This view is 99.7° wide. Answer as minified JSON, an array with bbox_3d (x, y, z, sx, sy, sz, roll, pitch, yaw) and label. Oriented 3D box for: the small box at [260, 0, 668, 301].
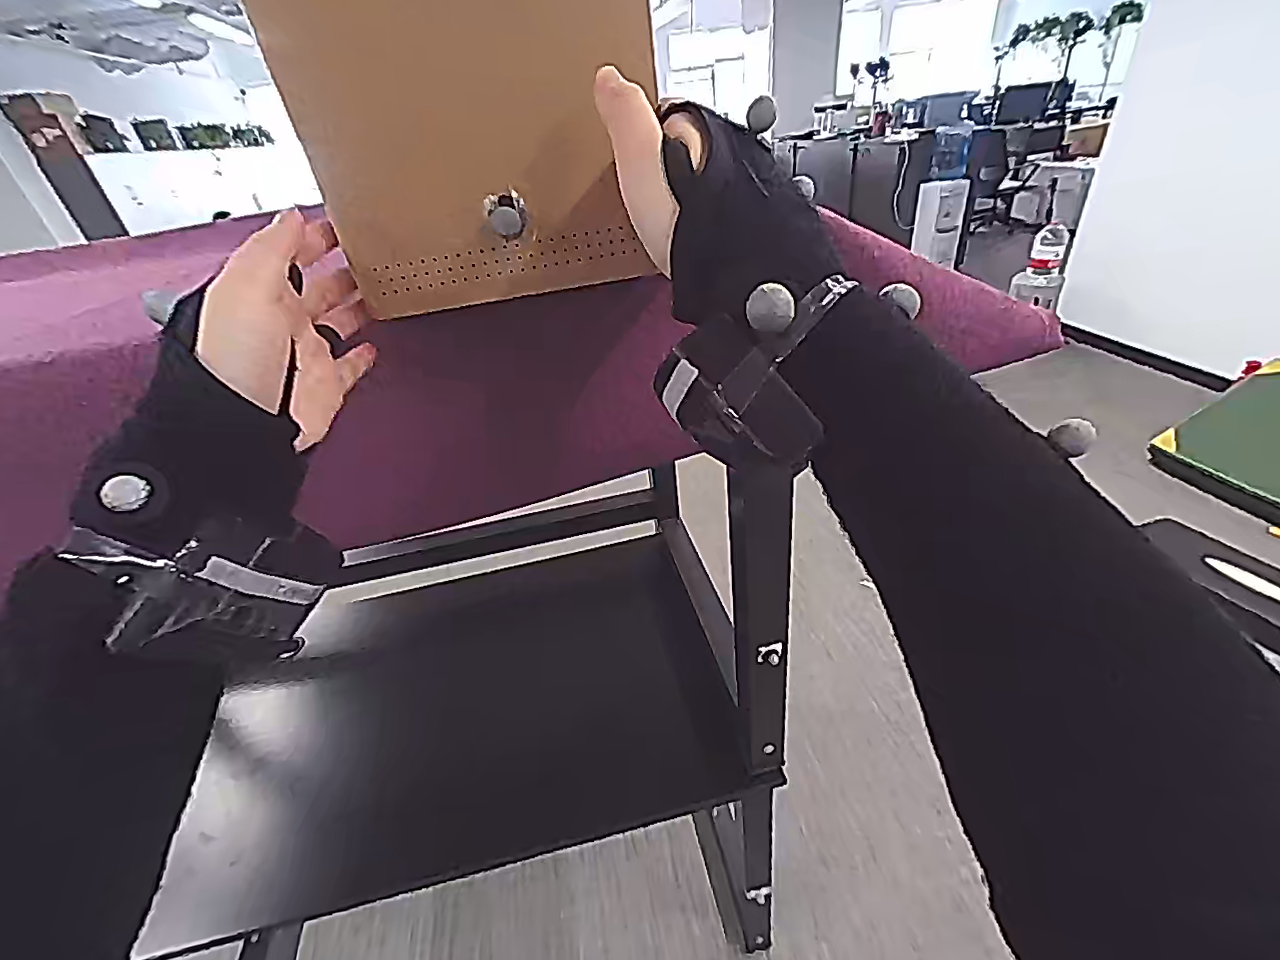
[{"bbox_3d":[-0.081,-0.221,0.325,0.179,0.176,0.168,-10,32,-3],"label":"small box"}]
